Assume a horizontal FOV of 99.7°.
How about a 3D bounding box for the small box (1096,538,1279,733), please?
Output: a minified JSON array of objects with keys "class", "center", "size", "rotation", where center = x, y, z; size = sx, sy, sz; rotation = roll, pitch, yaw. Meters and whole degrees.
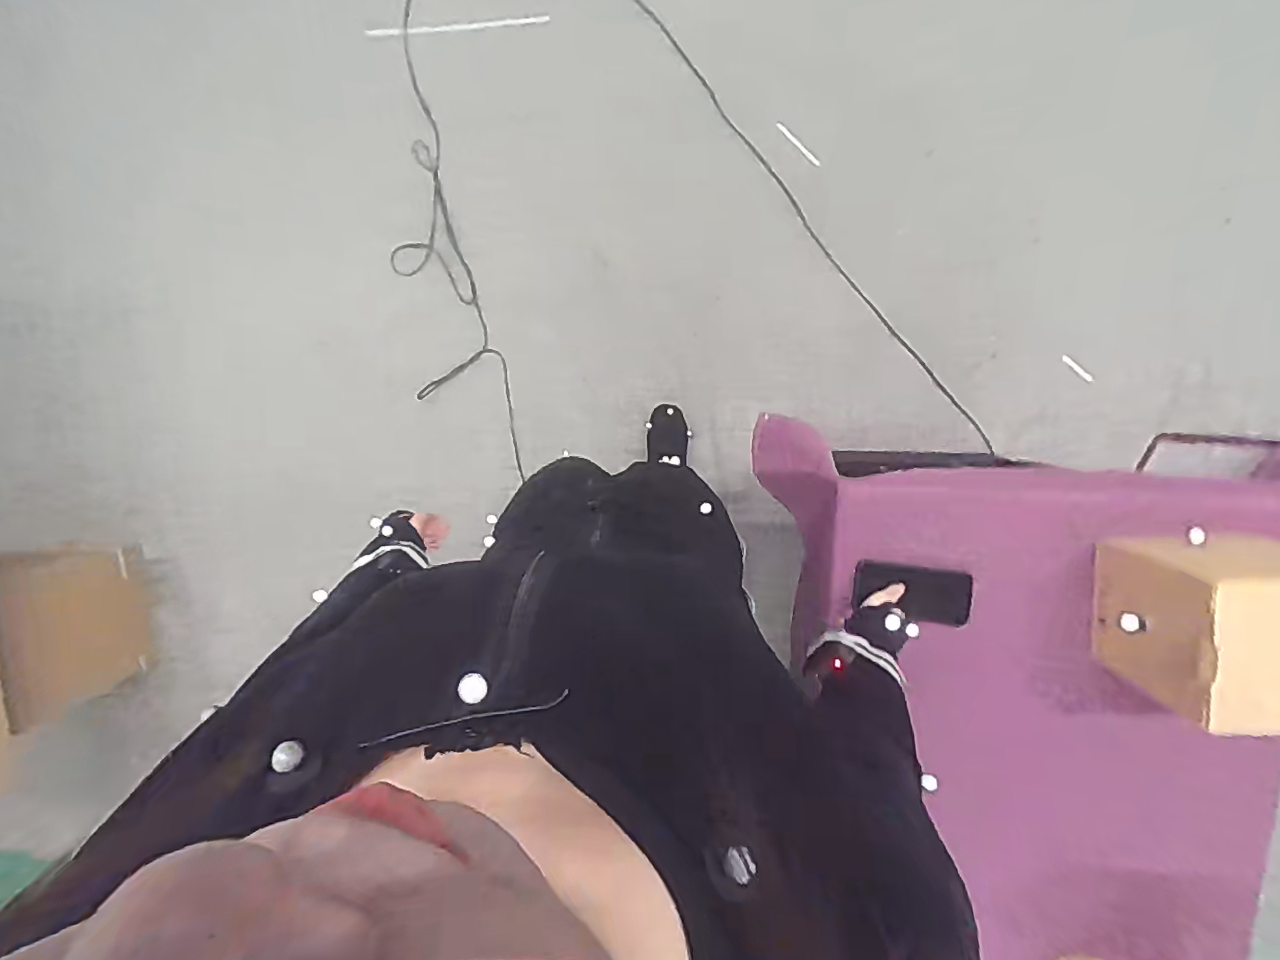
[{"class":"small box","center":[0.673,0.167,0.620],"size":[0.179,0.176,0.168],"rotation":[-3,99,7]}]
